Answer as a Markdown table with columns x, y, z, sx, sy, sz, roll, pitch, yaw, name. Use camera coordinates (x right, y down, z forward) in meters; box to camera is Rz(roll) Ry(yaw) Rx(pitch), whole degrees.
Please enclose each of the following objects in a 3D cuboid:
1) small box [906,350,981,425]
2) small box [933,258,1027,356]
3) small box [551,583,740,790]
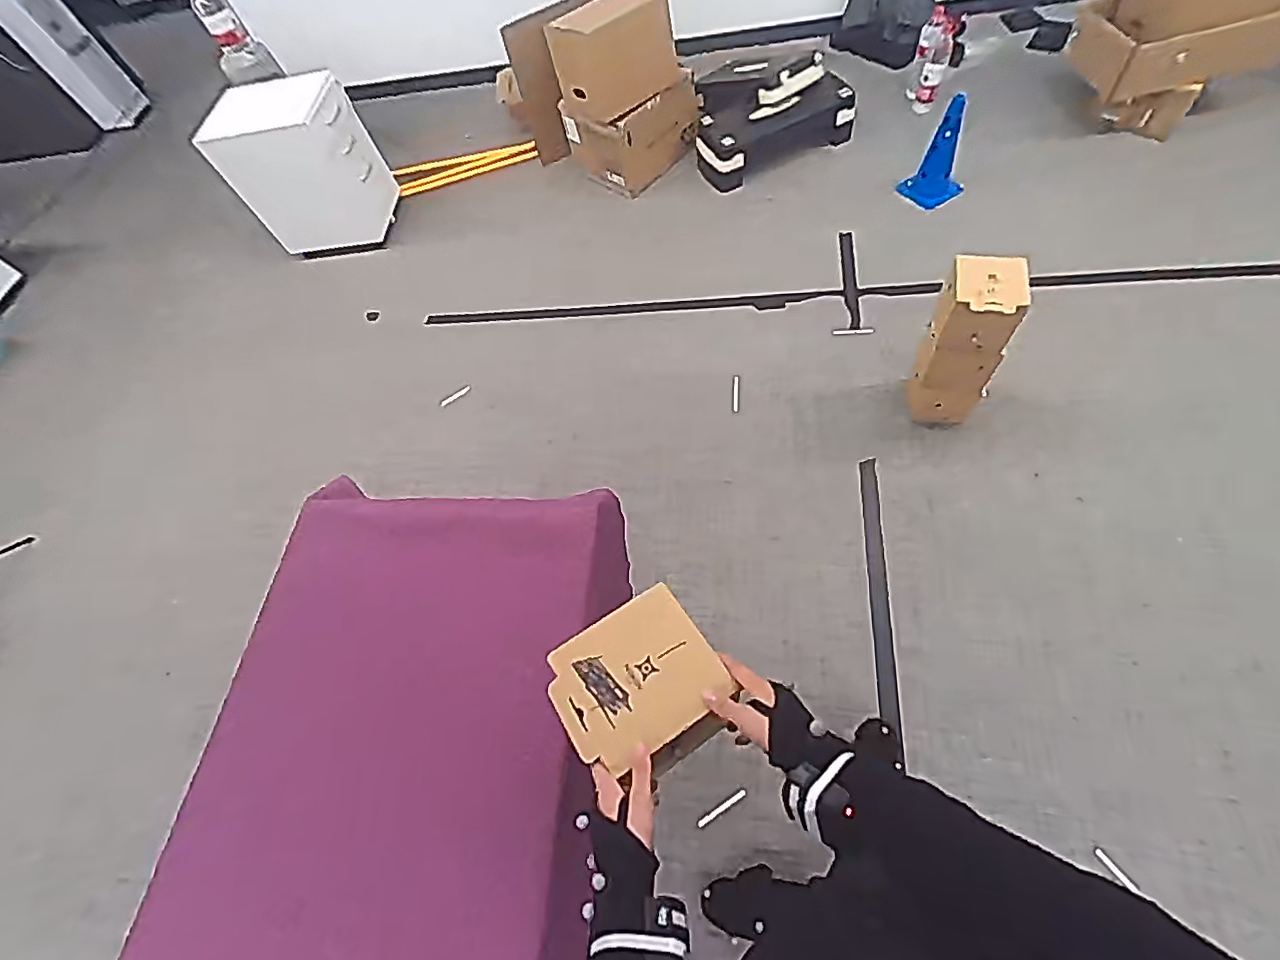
| x | y | z | sx | sy | sz | roll | pitch | yaw | name |
| --- | --- | --- | --- | --- | --- | --- | --- | --- | --- |
| 0.952 | -0.288 | 1.710 | 0.168 | 0.176 | 0.179 | 4 | 62 | 12 | small box |
| 0.891 | -0.456 | 1.432 | 0.168 | 0.176 | 0.179 | 9 | 64 | 14 | small box |
| 0.012 | 0.274 | 0.706 | 0.179 | 0.176 | 0.168 | -30 | 57 | -14 | small box |
